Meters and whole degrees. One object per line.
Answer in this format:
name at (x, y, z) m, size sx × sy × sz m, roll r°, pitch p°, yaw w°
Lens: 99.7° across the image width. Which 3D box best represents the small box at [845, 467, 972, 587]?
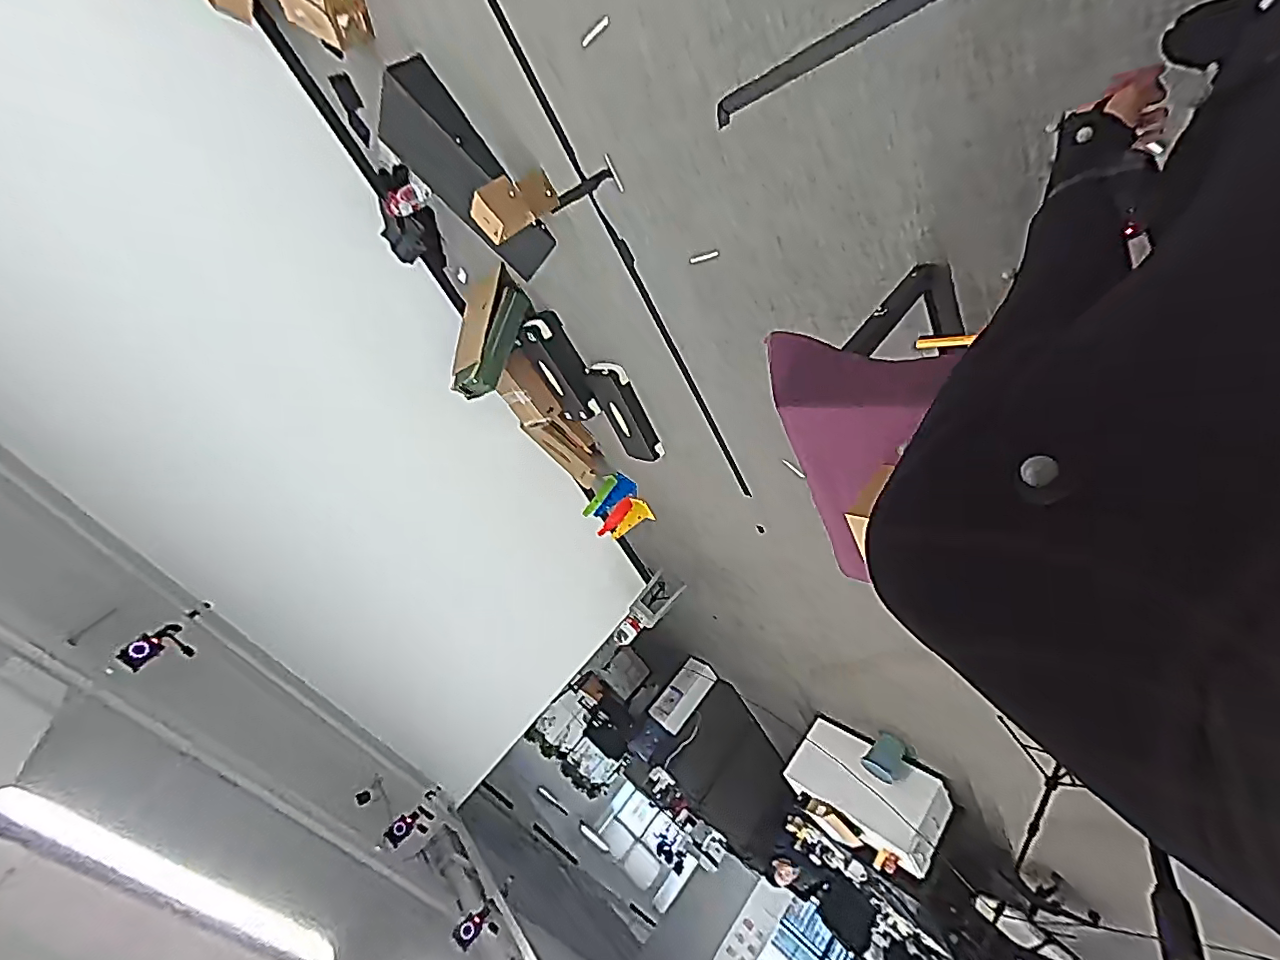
small box at (0.567, 0.089, 1.129) m, size 0.179 × 0.176 × 0.168 m, roll 11°, pitch 139°, yaw 53°
